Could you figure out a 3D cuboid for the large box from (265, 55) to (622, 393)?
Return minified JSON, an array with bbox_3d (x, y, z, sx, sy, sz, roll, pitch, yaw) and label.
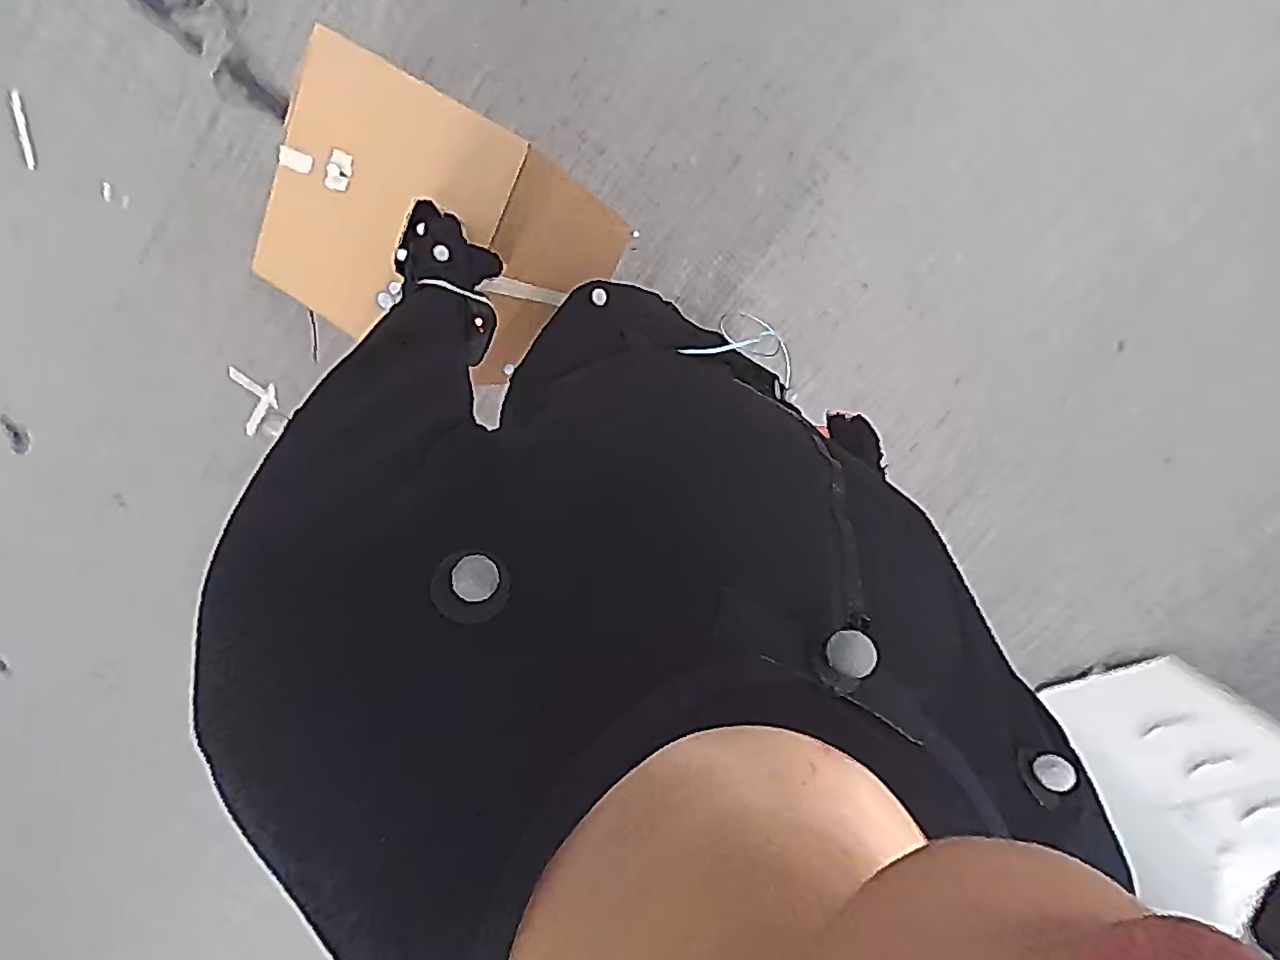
[{"bbox_3d":[-0.281,-0.364,0.861,0.320,0.408,0.320,33,110,6],"label":"large box"}]
